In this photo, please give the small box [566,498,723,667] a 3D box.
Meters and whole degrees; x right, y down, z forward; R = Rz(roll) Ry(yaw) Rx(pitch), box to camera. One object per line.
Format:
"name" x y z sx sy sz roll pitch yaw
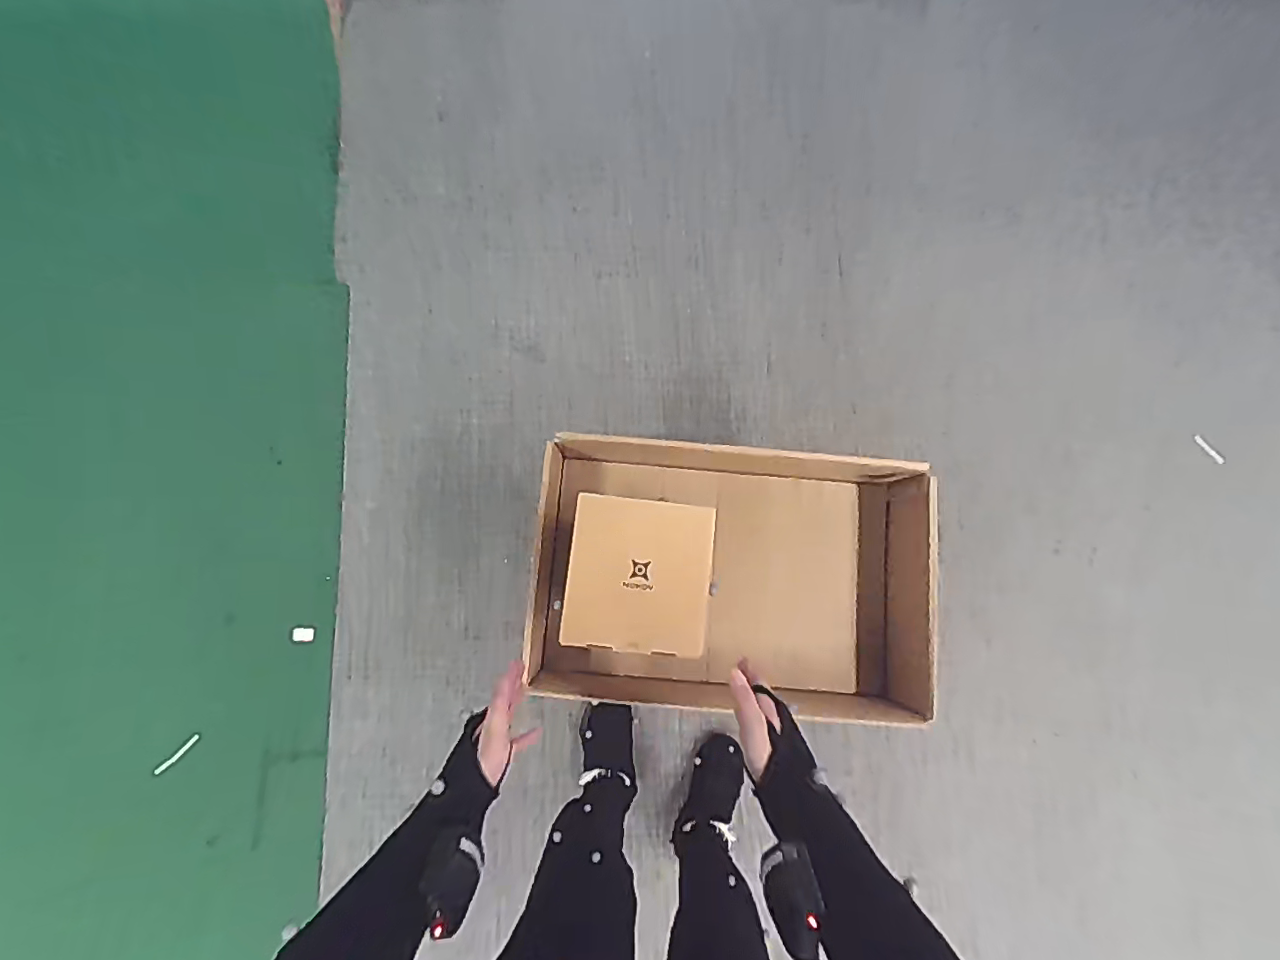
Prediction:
"small box" 0.002 0.126 0.695 0.168 0.176 0.179 7 82 -2
